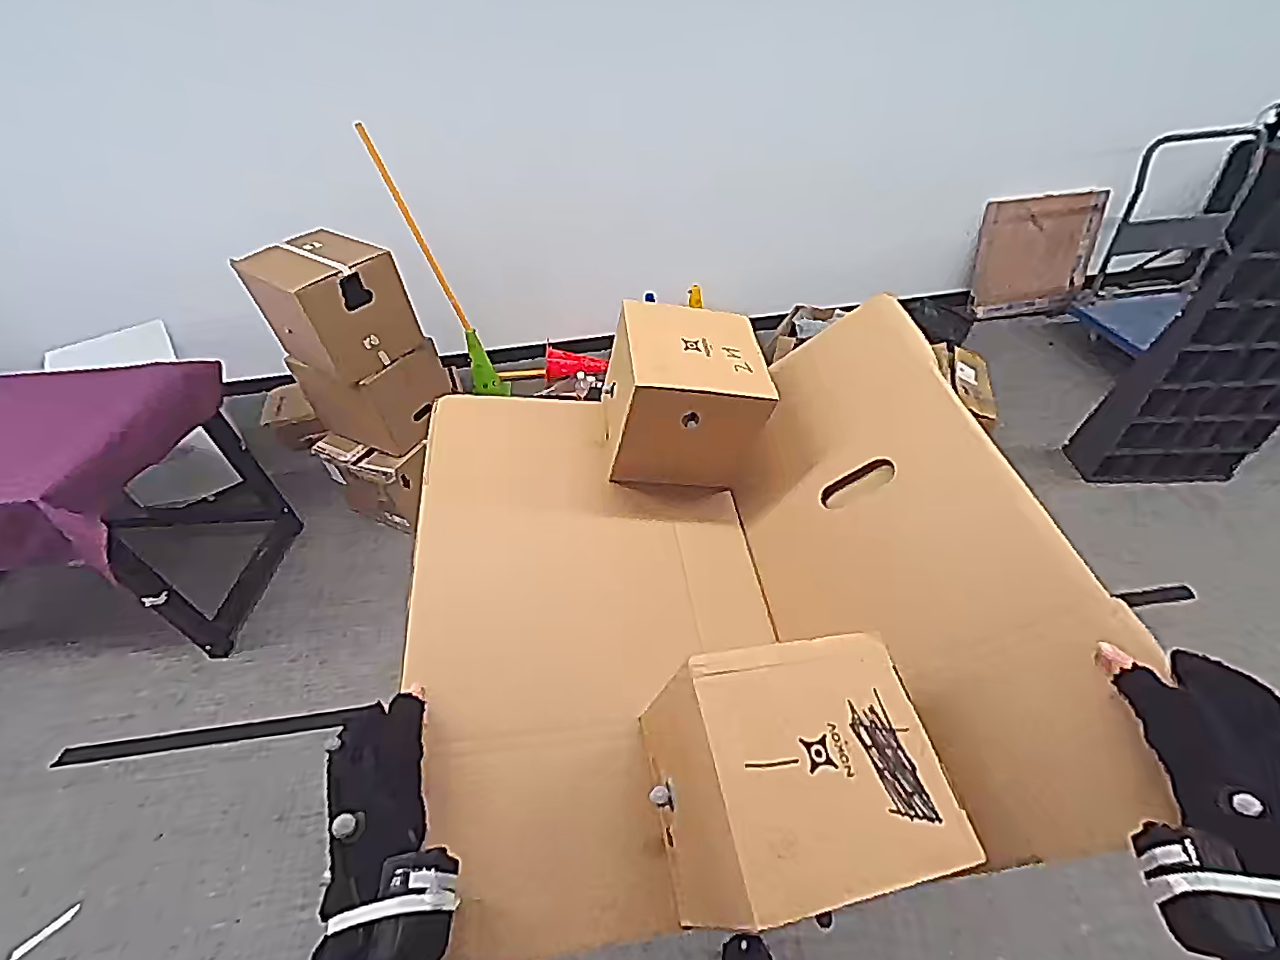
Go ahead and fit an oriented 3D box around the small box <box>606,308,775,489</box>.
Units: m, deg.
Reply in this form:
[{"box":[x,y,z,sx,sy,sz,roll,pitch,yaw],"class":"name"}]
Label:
[{"box":[0.051,-0.102,0.721,0.179,0.176,0.168,4,50,-13],"class":"small box"}]
